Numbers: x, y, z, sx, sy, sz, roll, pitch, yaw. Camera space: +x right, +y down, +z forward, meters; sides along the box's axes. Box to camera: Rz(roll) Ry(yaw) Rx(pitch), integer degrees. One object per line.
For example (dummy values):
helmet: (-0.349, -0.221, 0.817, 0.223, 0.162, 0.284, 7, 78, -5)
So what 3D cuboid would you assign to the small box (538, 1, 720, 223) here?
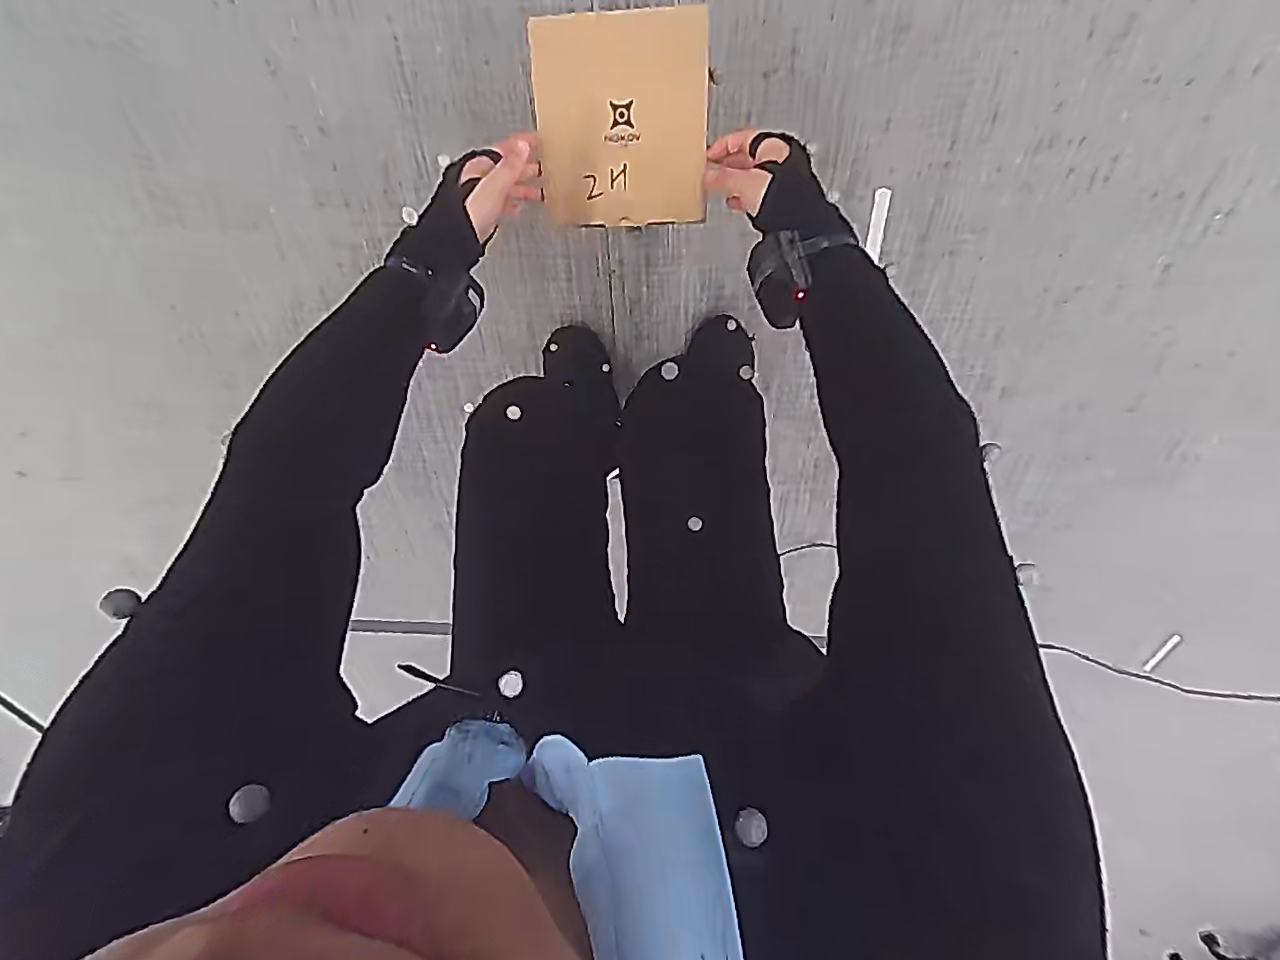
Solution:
small box: (-0.005, -0.378, 0.585, 0.168, 0.176, 0.179, 2, 118, 5)
